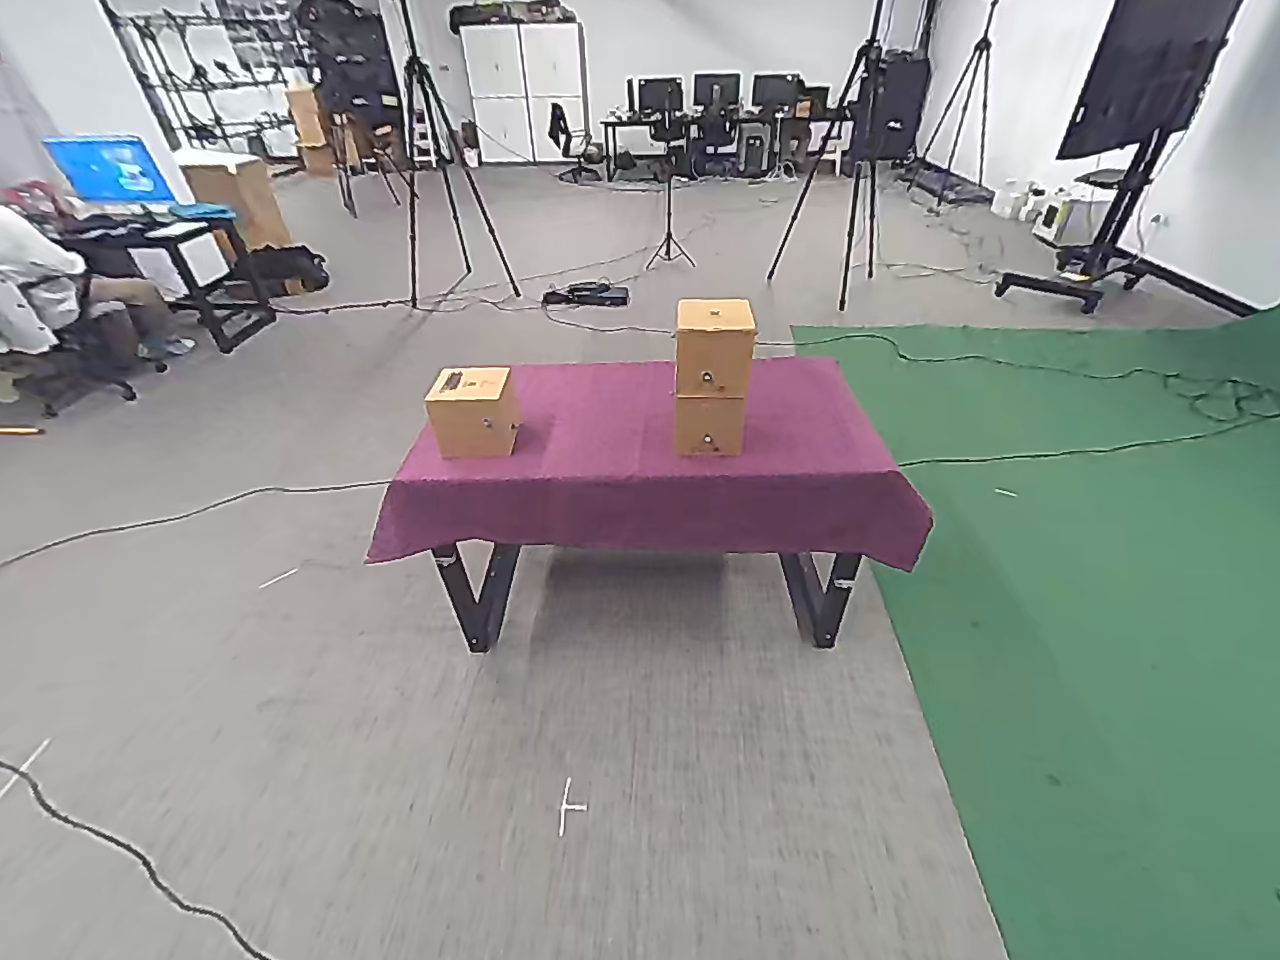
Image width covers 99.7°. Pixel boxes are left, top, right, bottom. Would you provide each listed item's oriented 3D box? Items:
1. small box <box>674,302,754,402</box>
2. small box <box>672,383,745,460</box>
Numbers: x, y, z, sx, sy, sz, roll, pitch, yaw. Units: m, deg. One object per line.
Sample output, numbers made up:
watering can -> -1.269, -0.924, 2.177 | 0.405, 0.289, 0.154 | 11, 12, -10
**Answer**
small box -> 0.165, -0.298, 1.251 | 0.168, 0.176, 0.179 | 1, 39, 3
small box -> 0.165, -0.169, 1.351 | 0.168, 0.176, 0.179 | 1, 39, 4
